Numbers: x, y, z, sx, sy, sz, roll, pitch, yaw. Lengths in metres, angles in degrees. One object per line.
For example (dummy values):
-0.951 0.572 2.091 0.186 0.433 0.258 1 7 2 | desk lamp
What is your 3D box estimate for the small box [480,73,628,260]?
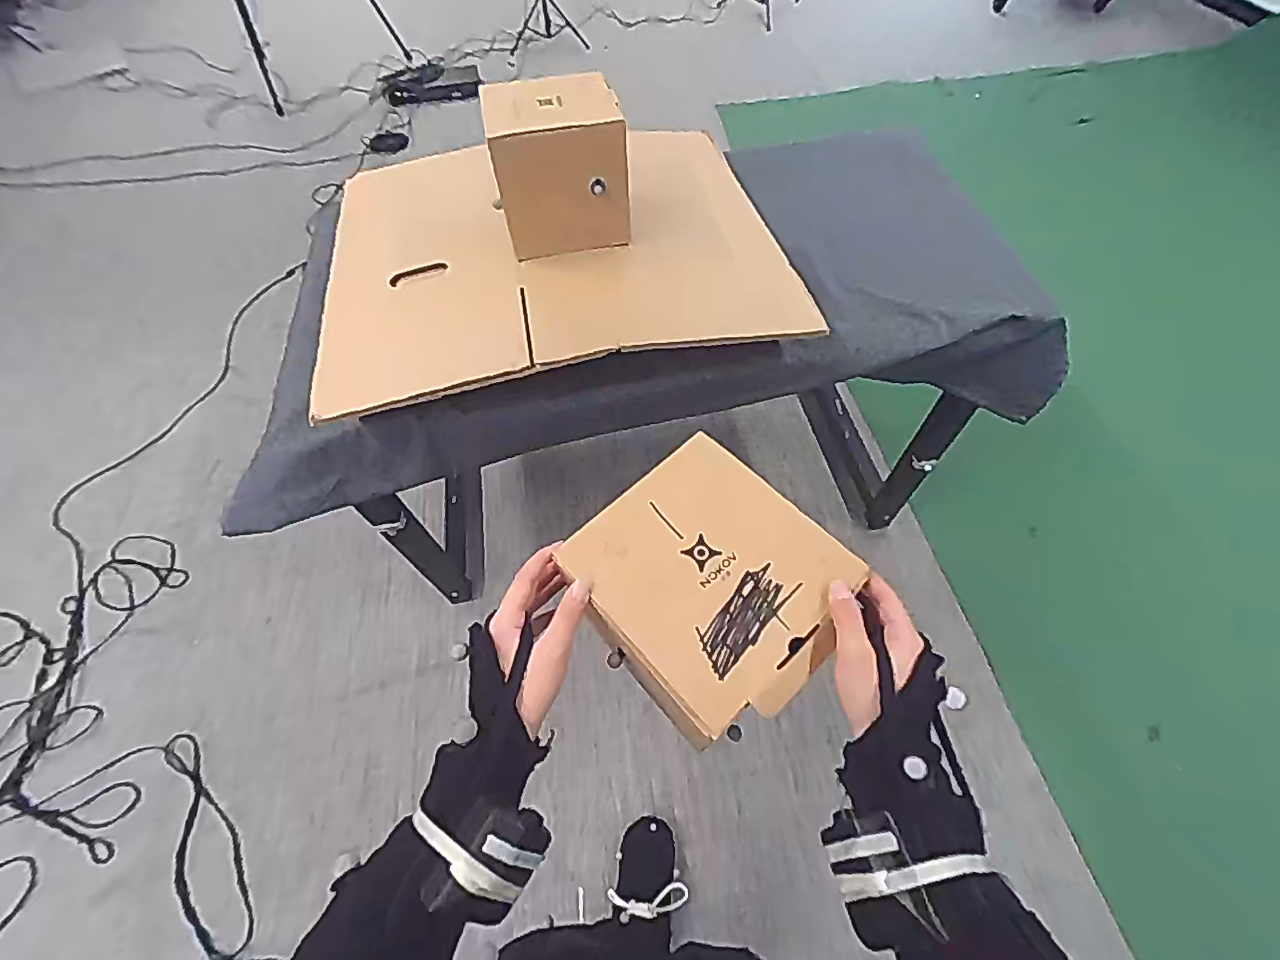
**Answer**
-0.115 -0.443 0.771 0.179 0.176 0.168 -12 55 -5 | small box
